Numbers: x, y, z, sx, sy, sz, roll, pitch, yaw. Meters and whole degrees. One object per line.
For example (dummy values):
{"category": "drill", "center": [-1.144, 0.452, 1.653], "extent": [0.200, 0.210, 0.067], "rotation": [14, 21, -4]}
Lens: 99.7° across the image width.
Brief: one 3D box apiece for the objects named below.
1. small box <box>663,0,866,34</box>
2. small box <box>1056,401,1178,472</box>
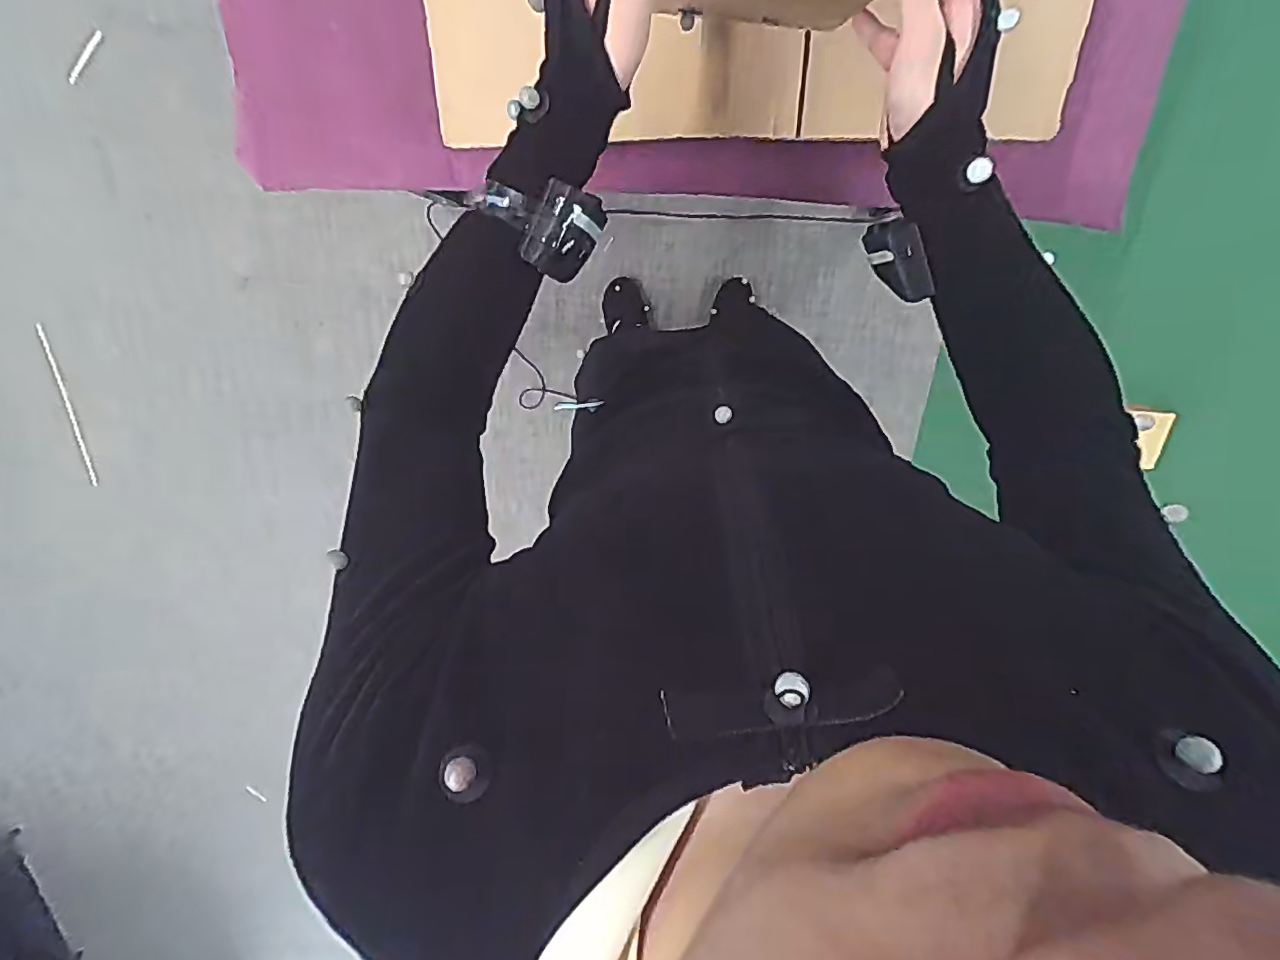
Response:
{"category": "small box", "center": [0.099, -0.436, 0.369], "extent": [0.168, 0.176, 0.179], "rotation": [5, 118, -1]}
{"category": "small box", "center": [1.380, -0.130, 1.576], "extent": [0.179, 0.176, 0.168], "rotation": [3, 110, -2]}
